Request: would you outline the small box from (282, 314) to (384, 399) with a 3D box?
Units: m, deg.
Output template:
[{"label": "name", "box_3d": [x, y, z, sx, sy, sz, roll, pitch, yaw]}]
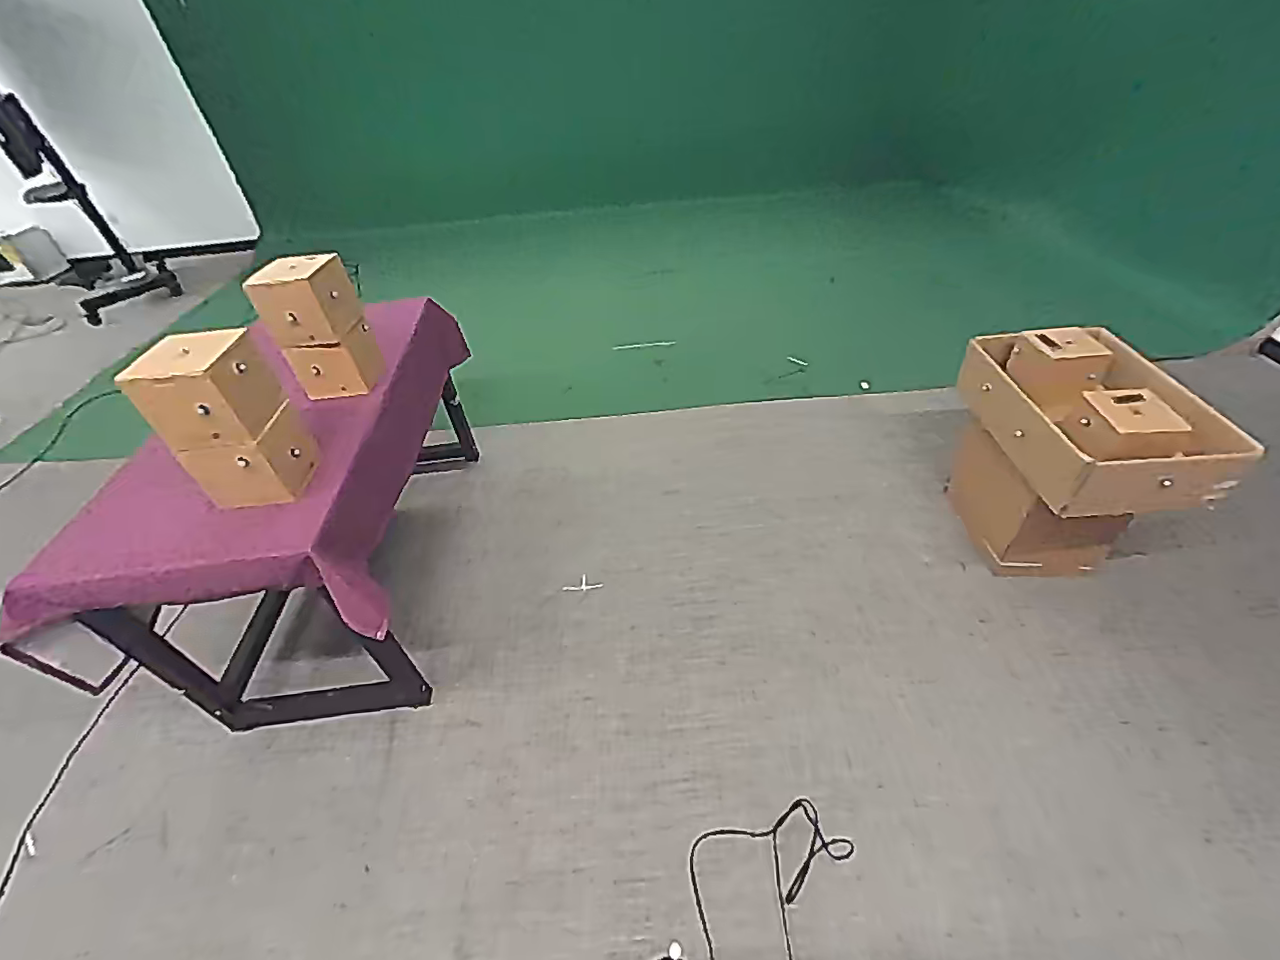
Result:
[{"label": "small box", "box_3d": [-0.844, -0.339, 1.509, 0.168, 0.176, 0.179, -7, 42, 1]}]

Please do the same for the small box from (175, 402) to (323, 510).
[{"label": "small box", "box_3d": [-0.844, -0.051, 1.193, 0.179, 0.176, 0.168, -6, 42, 2]}]

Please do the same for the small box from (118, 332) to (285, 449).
[{"label": "small box", "box_3d": [-0.860, -0.175, 1.087, 0.168, 0.176, 0.179, -6, 42, 0]}]

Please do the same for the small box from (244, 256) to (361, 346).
[{"label": "small box", "box_3d": [-0.855, -0.456, 1.393, 0.168, 0.176, 0.179, -3, 43, 4]}]
